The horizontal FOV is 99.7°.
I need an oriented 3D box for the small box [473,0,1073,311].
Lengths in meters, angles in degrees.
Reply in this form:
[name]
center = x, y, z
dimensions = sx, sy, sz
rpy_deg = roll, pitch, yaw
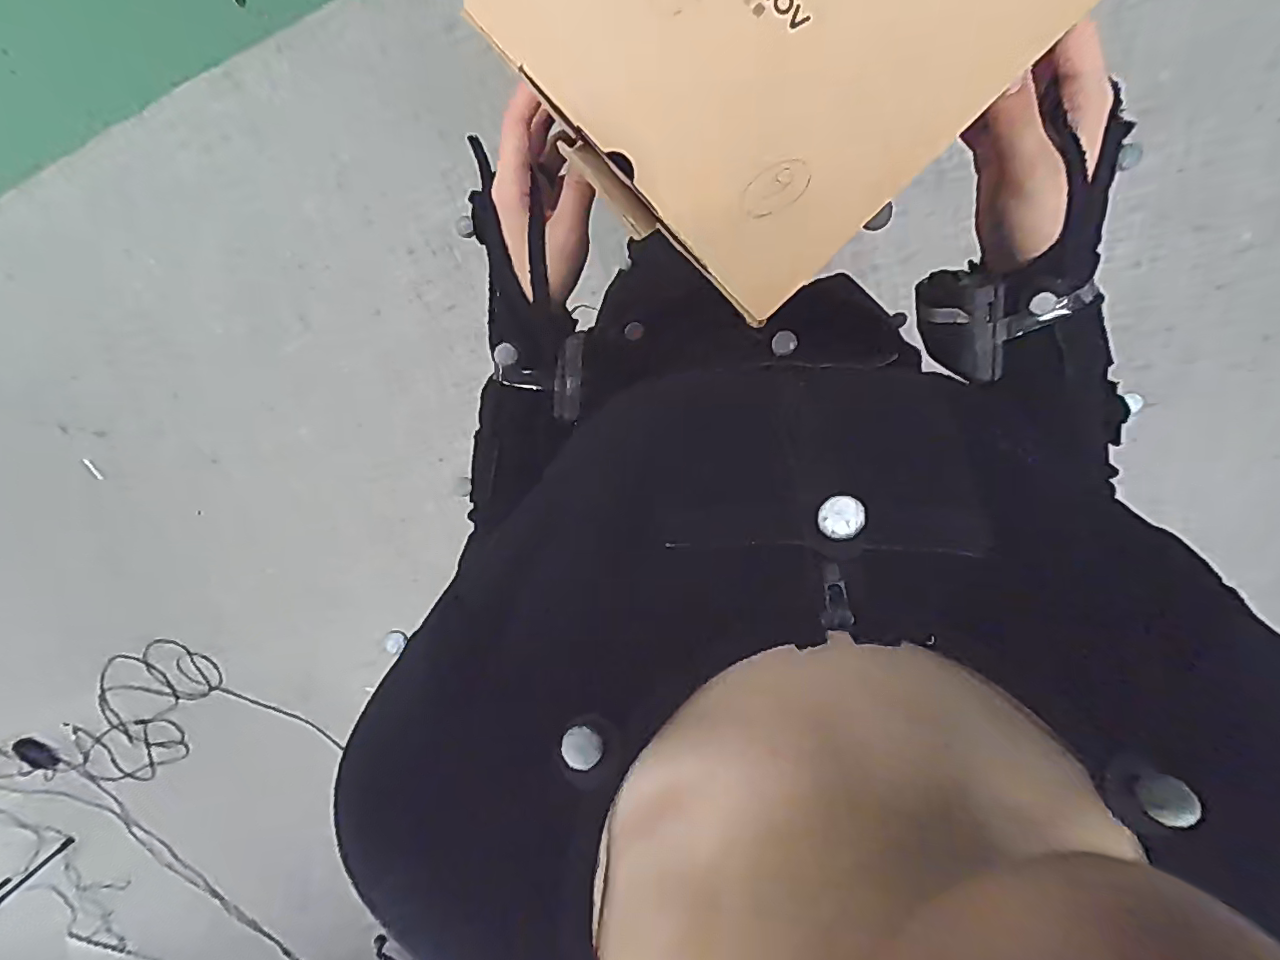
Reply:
[small box]
center = 0.062, -0.210, 0.264
dimensions = 0.168, 0.176, 0.179
rpy_deg = 43, 113, -9
